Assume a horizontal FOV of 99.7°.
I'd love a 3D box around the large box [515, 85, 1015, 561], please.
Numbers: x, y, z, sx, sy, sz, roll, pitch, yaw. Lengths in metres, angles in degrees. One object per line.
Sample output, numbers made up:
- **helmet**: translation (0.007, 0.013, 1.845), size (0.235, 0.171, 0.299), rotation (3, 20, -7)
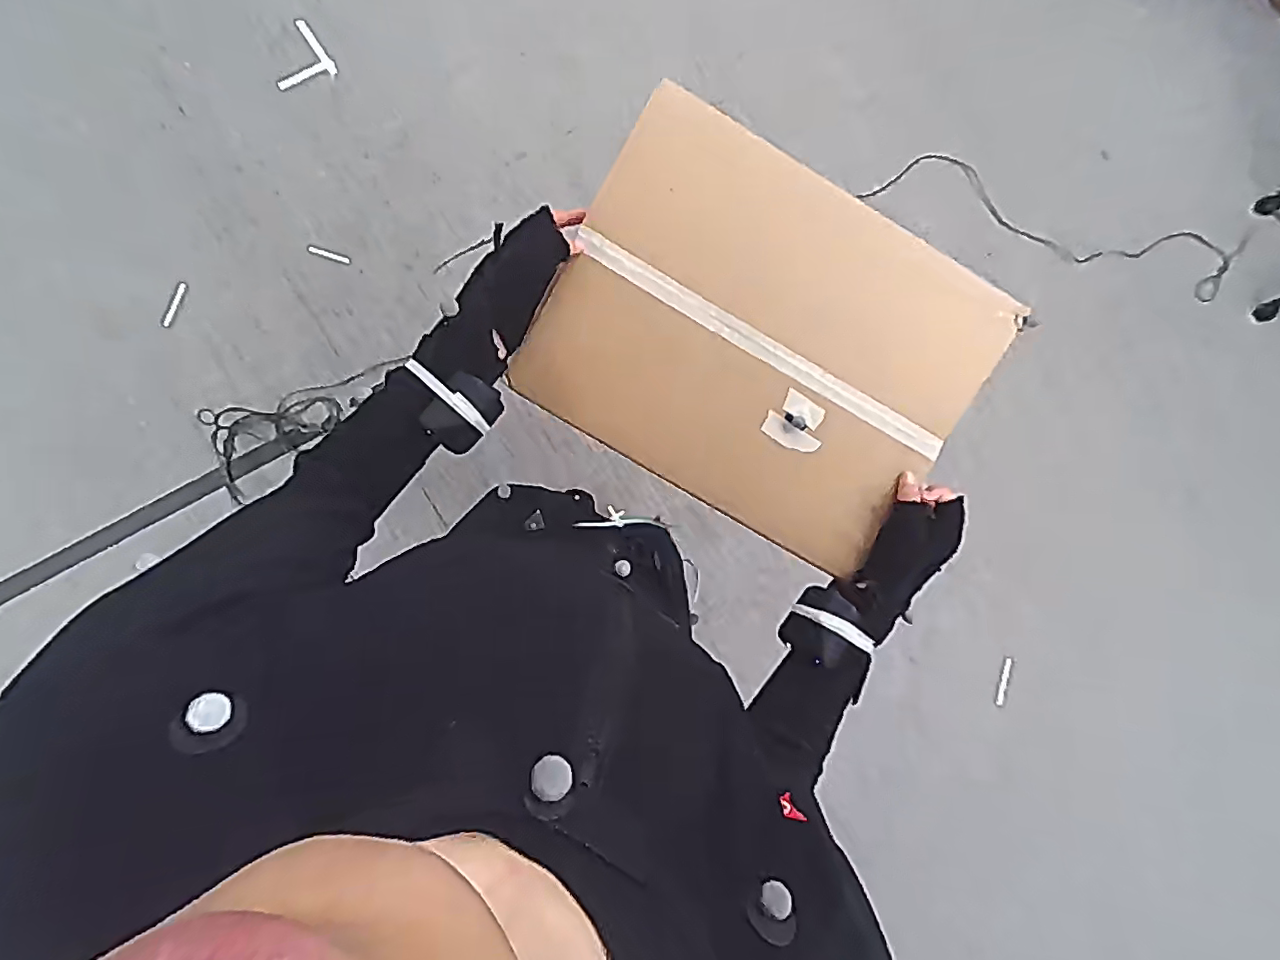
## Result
- **large box**: translation (0.118, -0.161, 0.674), size (0.408, 0.320, 0.320), rotation (30, 98, -5)
